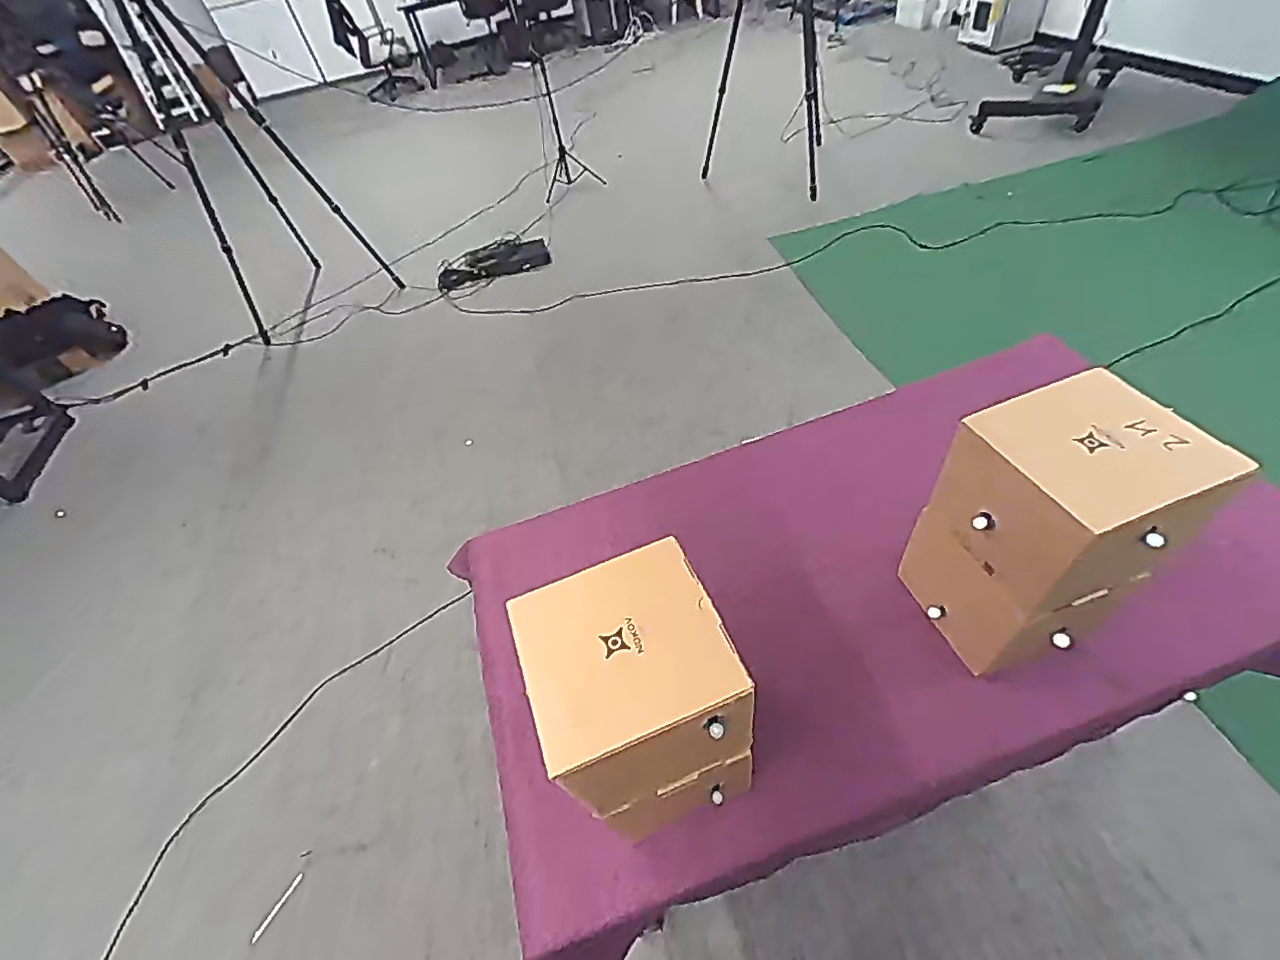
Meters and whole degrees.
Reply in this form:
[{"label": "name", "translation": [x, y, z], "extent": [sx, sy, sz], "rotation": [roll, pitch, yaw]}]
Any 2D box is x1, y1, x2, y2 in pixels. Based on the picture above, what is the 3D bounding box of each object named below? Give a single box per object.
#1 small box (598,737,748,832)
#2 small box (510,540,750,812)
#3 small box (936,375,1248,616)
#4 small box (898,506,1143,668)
[{"label": "small box", "translation": [0.021, 0.299, 0.654], "extent": [0.168, 0.176, 0.179], "rotation": [-19, 48, -7]}, {"label": "small box", "translation": [-0.006, 0.195, 0.532], "extent": [0.179, 0.176, 0.168], "rotation": [-21, 49, -9]}, {"label": "small box", "translation": [0.454, 0.021, 0.587], "extent": [0.179, 0.176, 0.168], "rotation": [-19, 49, -6]}, {"label": "small box", "translation": [0.476, 0.127, 0.713], "extent": [0.168, 0.176, 0.179], "rotation": [-19, 50, -5]}]
